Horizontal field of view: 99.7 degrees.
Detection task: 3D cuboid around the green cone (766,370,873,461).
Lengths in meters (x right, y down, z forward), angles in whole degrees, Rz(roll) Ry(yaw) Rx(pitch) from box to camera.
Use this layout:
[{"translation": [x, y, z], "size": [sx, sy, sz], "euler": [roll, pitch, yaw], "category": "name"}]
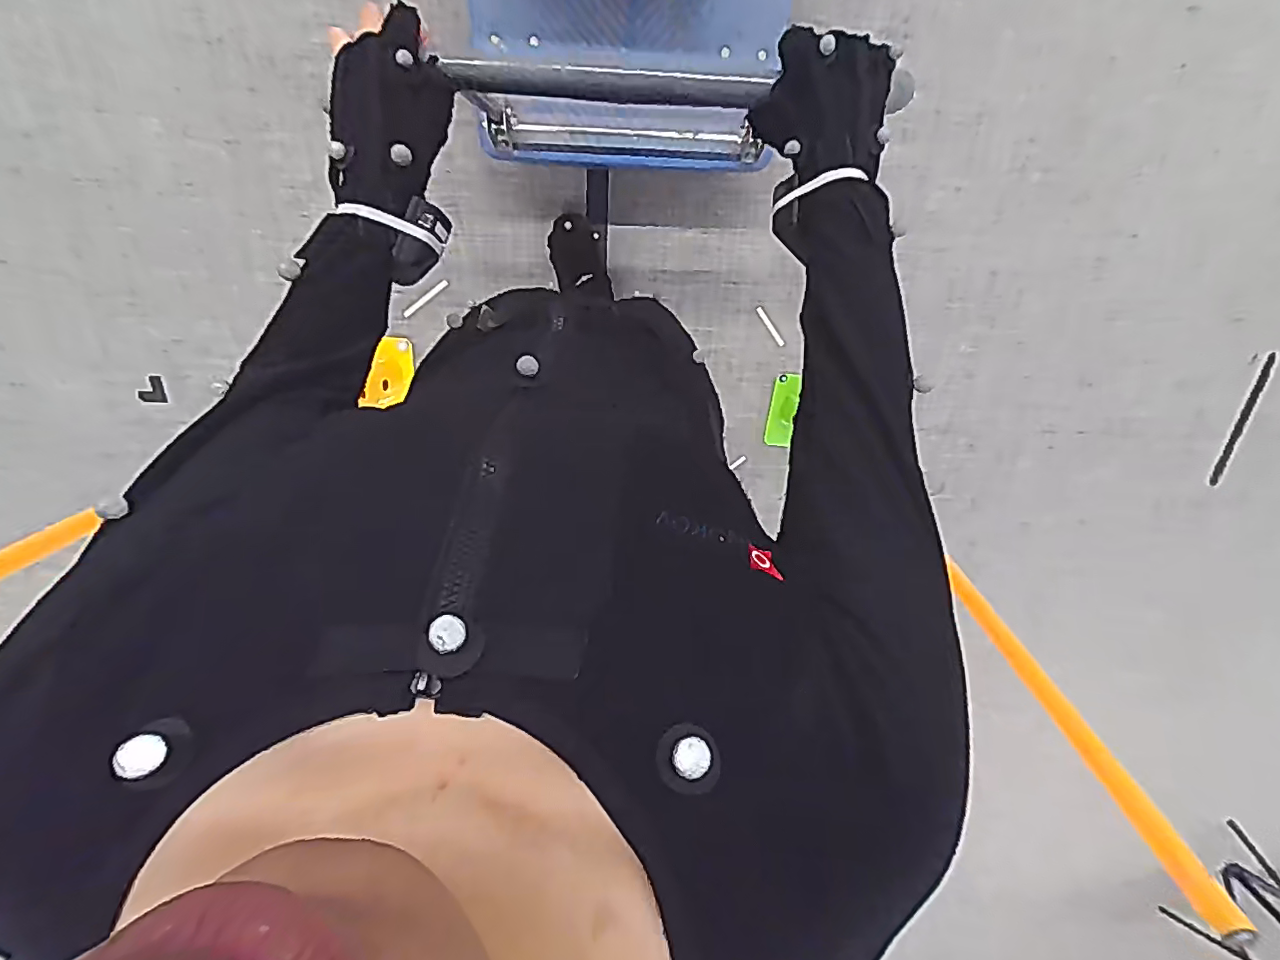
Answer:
[{"translation": [0.462, -0.126, 1.312], "size": [0.202, 0.368, 0.200], "euler": [4, 113, -5], "category": "green cone"}]
